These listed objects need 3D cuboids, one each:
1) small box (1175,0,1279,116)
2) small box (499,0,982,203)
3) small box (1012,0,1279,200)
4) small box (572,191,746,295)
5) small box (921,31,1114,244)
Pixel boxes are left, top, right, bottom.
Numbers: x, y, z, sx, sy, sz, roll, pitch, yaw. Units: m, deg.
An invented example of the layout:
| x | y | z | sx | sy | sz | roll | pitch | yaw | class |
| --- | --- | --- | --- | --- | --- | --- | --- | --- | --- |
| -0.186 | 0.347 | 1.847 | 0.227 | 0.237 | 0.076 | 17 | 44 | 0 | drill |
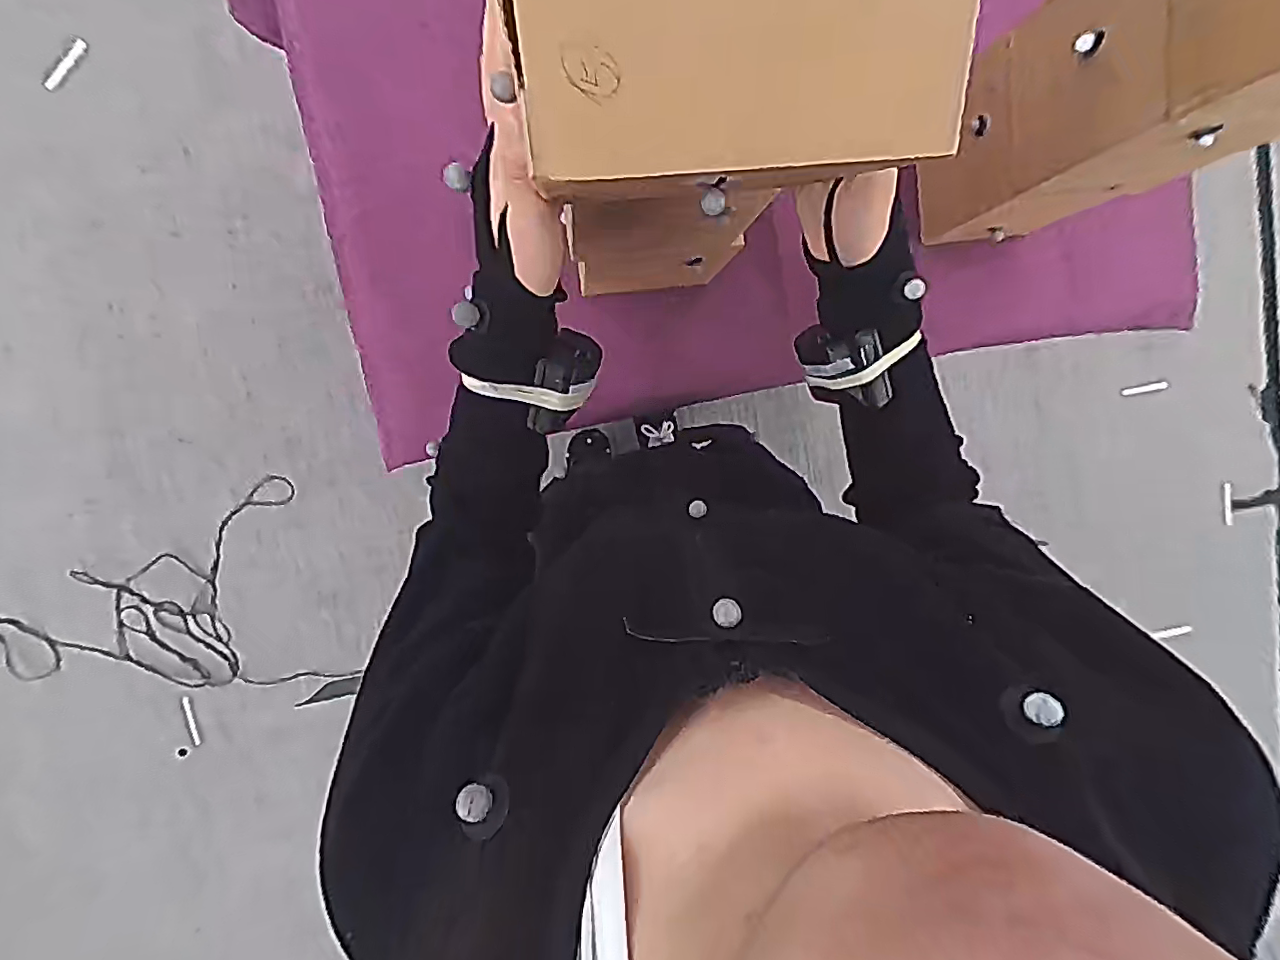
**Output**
| x | y | z | sx | sy | sz | roll | pitch | yaw | class |
| --- | --- | --- | --- | --- | --- | --- | --- | --- | --- |
| 0.516 | -0.374 | 0.362 | 0.168 | 0.176 | 0.179 | -6 | 96 | -5 | small box |
| 0.028 | -0.228 | 0.250 | 0.179 | 0.176 | 0.168 | -7 | 116 | -5 | small box |
| 0.496 | -0.399 | 0.522 | 0.168 | 0.176 | 0.179 | -6 | 96 | -5 | small box |
| 0.011 | -0.328 | 0.642 | 0.179 | 0.176 | 0.168 | -8 | 97 | -5 | small box |
| 0.478 | -0.421 | 0.684 | 0.168 | 0.176 | 0.179 | -8 | 97 | -5 | small box |
